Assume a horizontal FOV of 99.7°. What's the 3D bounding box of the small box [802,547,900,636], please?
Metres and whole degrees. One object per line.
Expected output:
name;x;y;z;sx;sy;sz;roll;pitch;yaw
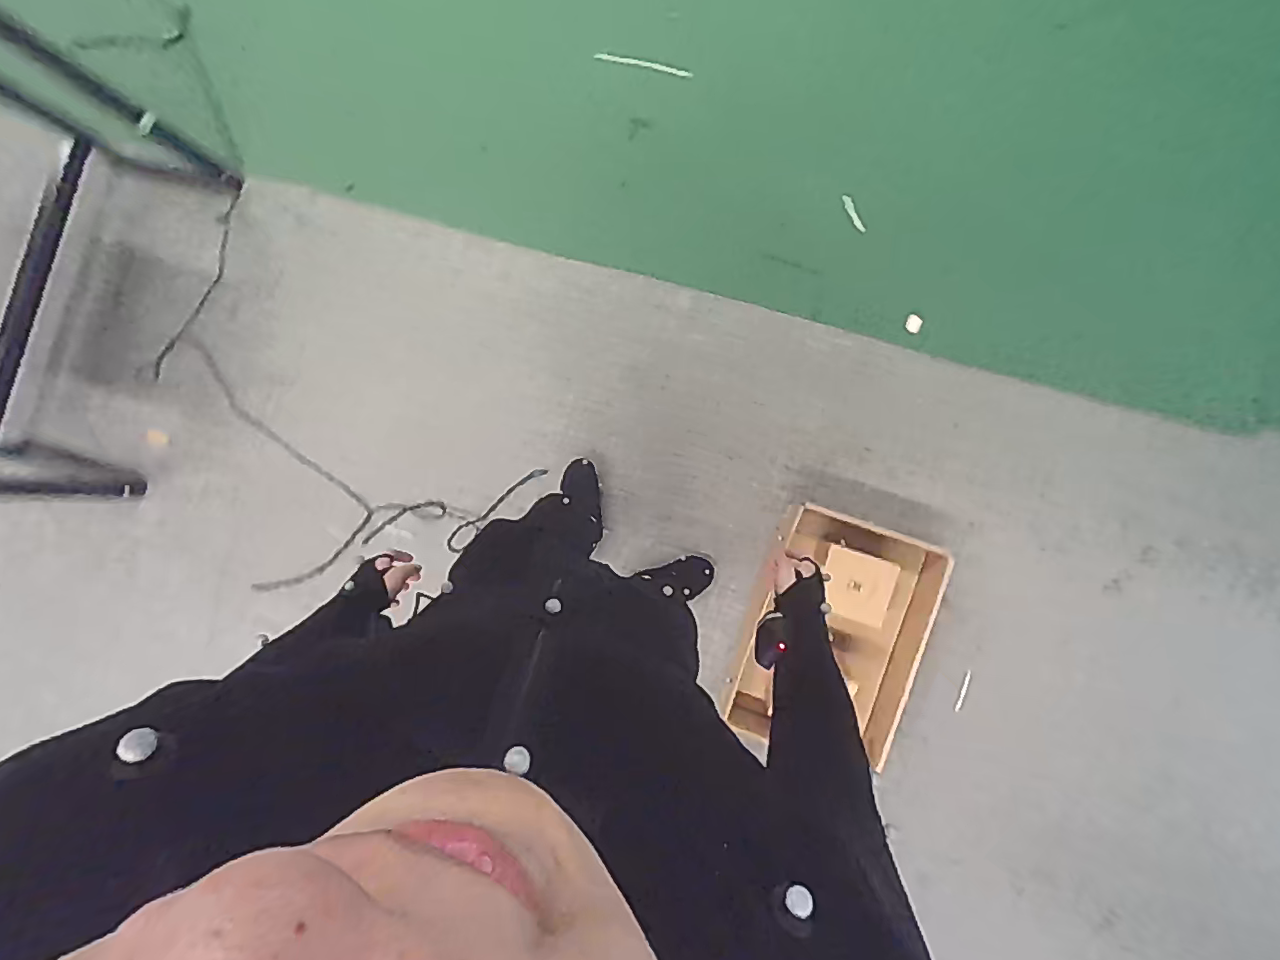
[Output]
small box;0.539;0.281;1.408;0.179;0.176;0.168;19;91;8

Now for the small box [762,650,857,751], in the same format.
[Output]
small box;0.431;0.561;1.408;0.179;0.176;0.168;23;90;9
